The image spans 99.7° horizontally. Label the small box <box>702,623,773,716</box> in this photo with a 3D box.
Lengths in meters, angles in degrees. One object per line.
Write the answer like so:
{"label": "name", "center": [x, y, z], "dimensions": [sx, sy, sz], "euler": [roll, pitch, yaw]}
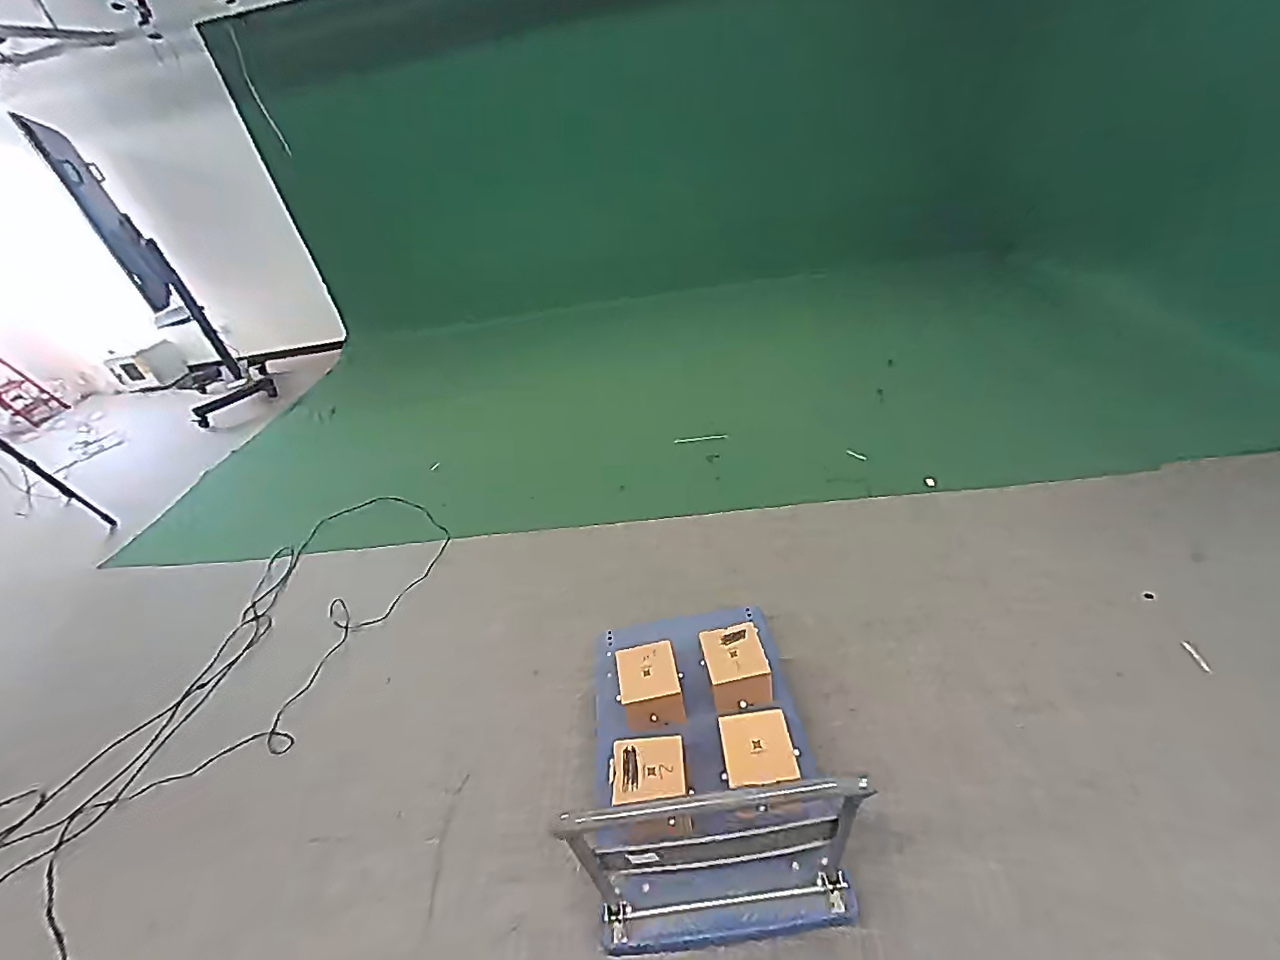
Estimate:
{"label": "small box", "center": [0.282, 0.552, 1.574], "dimensions": [0.168, 0.176, 0.179], "euler": [-12, 38, 0]}

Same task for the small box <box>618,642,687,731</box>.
{"label": "small box", "center": [0.036, 0.604, 1.570], "dimensions": [0.168, 0.176, 0.179], "euler": [-11, 37, -1]}

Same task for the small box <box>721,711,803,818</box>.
{"label": "small box", "center": [0.301, 0.714, 1.358], "dimensions": [0.168, 0.176, 0.179], "euler": [-9, 37, 3]}
